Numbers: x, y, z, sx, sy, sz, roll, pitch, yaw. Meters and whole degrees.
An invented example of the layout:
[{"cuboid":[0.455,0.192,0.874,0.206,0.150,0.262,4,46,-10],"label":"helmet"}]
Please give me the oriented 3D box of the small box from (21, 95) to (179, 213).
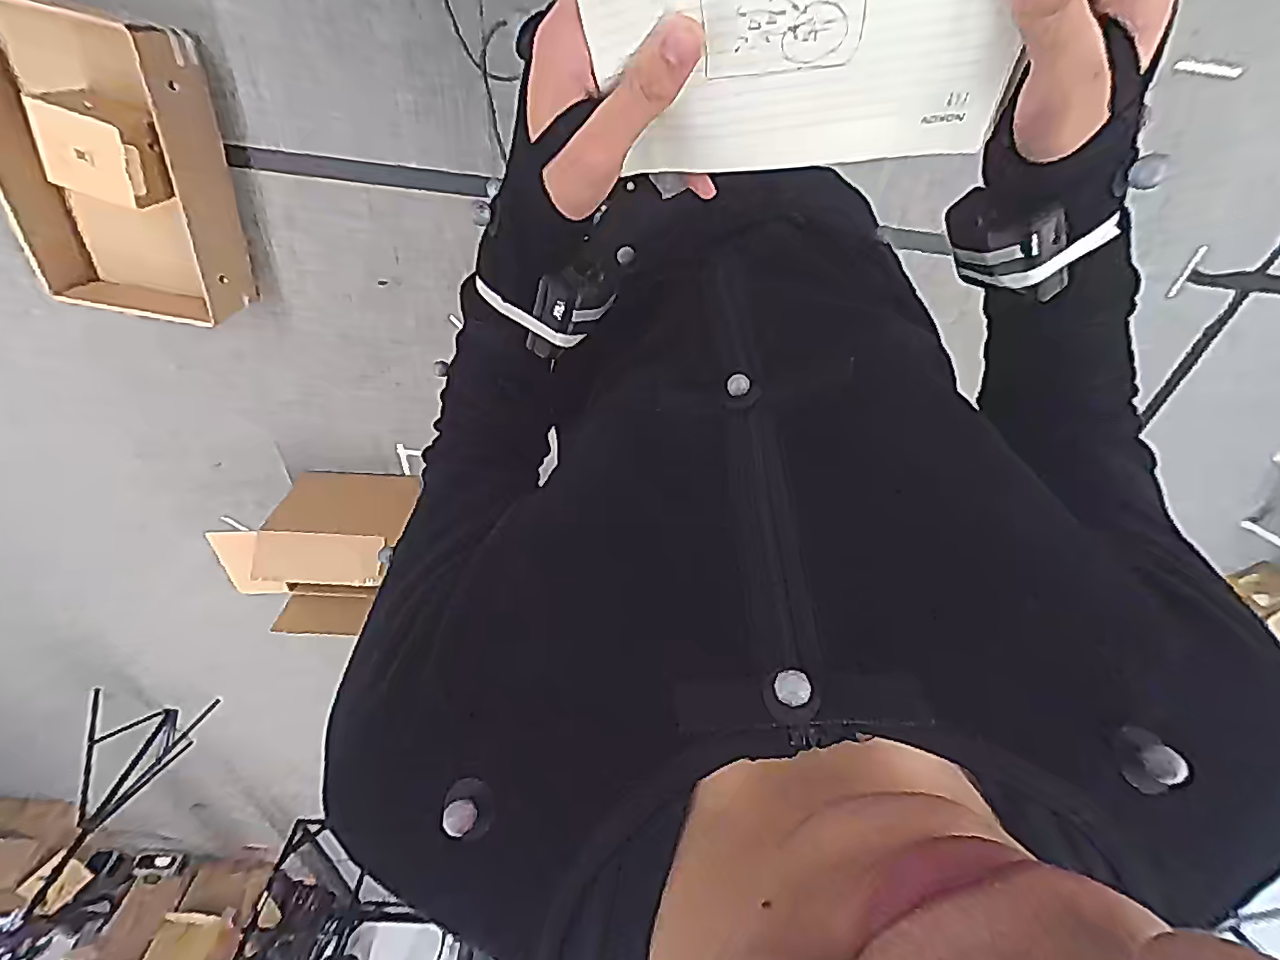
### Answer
[{"cuboid":[-1.161,-0.720,1.188,0.179,0.176,0.168,15,127,-12],"label":"small box"}]
